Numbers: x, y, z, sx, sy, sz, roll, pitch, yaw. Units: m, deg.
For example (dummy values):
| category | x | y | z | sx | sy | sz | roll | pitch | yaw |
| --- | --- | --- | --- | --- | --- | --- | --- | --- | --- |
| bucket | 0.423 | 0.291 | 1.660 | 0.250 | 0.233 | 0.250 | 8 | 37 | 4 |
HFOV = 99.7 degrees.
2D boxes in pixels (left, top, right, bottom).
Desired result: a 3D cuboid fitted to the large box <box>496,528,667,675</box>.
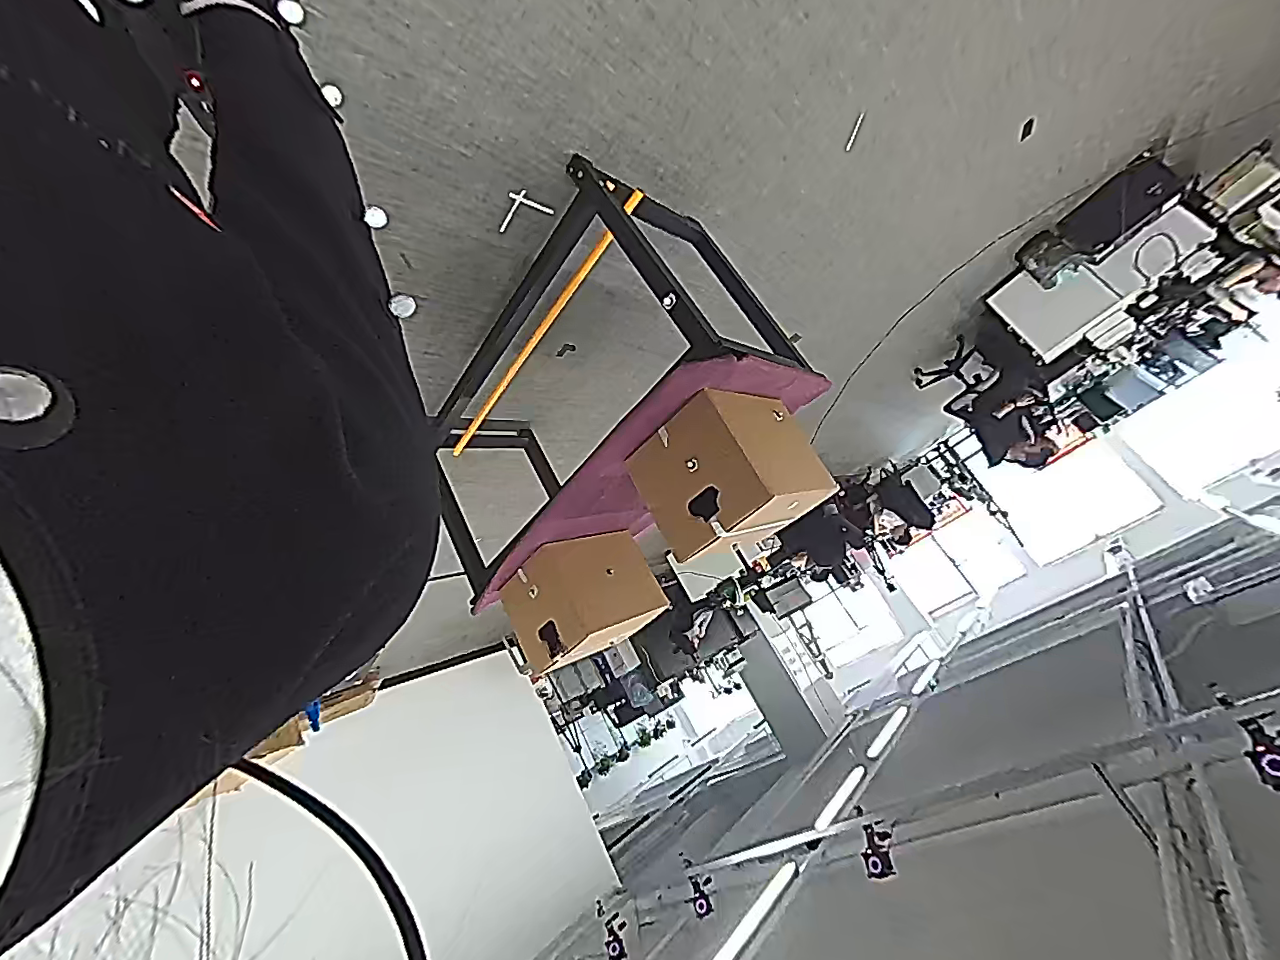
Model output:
| category | x | y | z | sx | sy | sz | roll | pitch | yaw |
| --- | --- | --- | --- | --- | --- | --- | --- | --- | --- |
| large box | -0.196 | 0.388 | 1.804 | 0.408 | 0.320 | 0.320 | -5 | 149 | -51 |
